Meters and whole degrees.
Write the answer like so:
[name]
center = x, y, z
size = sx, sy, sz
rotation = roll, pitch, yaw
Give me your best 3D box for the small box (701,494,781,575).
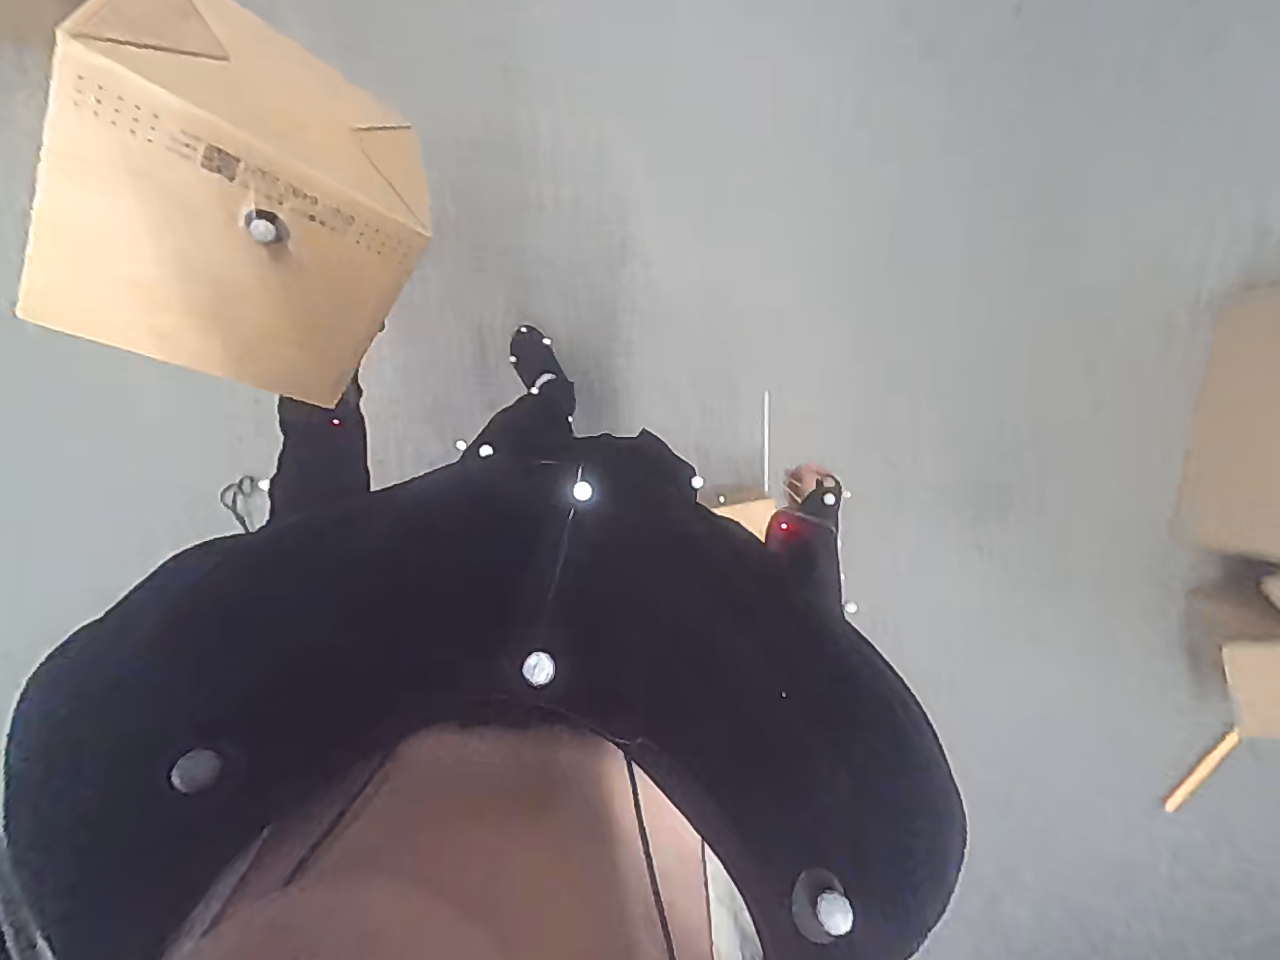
[small box]
center = 0.264, 0.142, 1.458
size = 0.179, 0.176, 0.168
rotation = -9, 100, -1
